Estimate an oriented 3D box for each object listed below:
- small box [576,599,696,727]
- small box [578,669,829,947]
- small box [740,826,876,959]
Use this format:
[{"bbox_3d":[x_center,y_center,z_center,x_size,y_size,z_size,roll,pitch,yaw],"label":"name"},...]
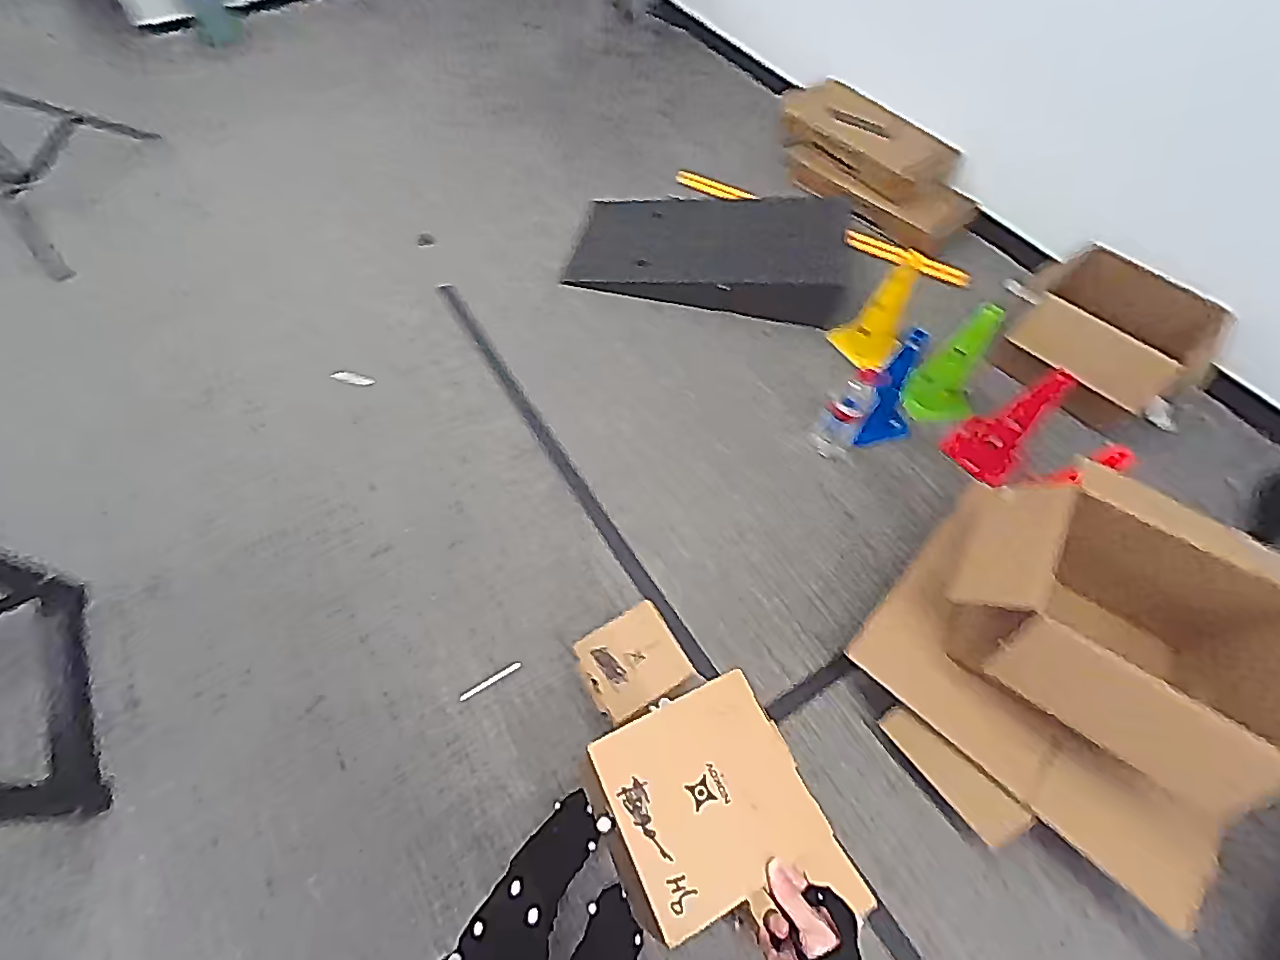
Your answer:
[{"bbox_3d":[-0.010,0.373,1.085,0.179,0.176,0.168,-27,65,-17],"label":"small box"},{"bbox_3d":[0.049,0.324,0.558,0.179,0.176,0.168,-19,62,-22],"label":"small box"},{"bbox_3d":[0.255,0.676,0.925,0.179,0.176,0.168,-29,66,-15],"label":"small box"}]
